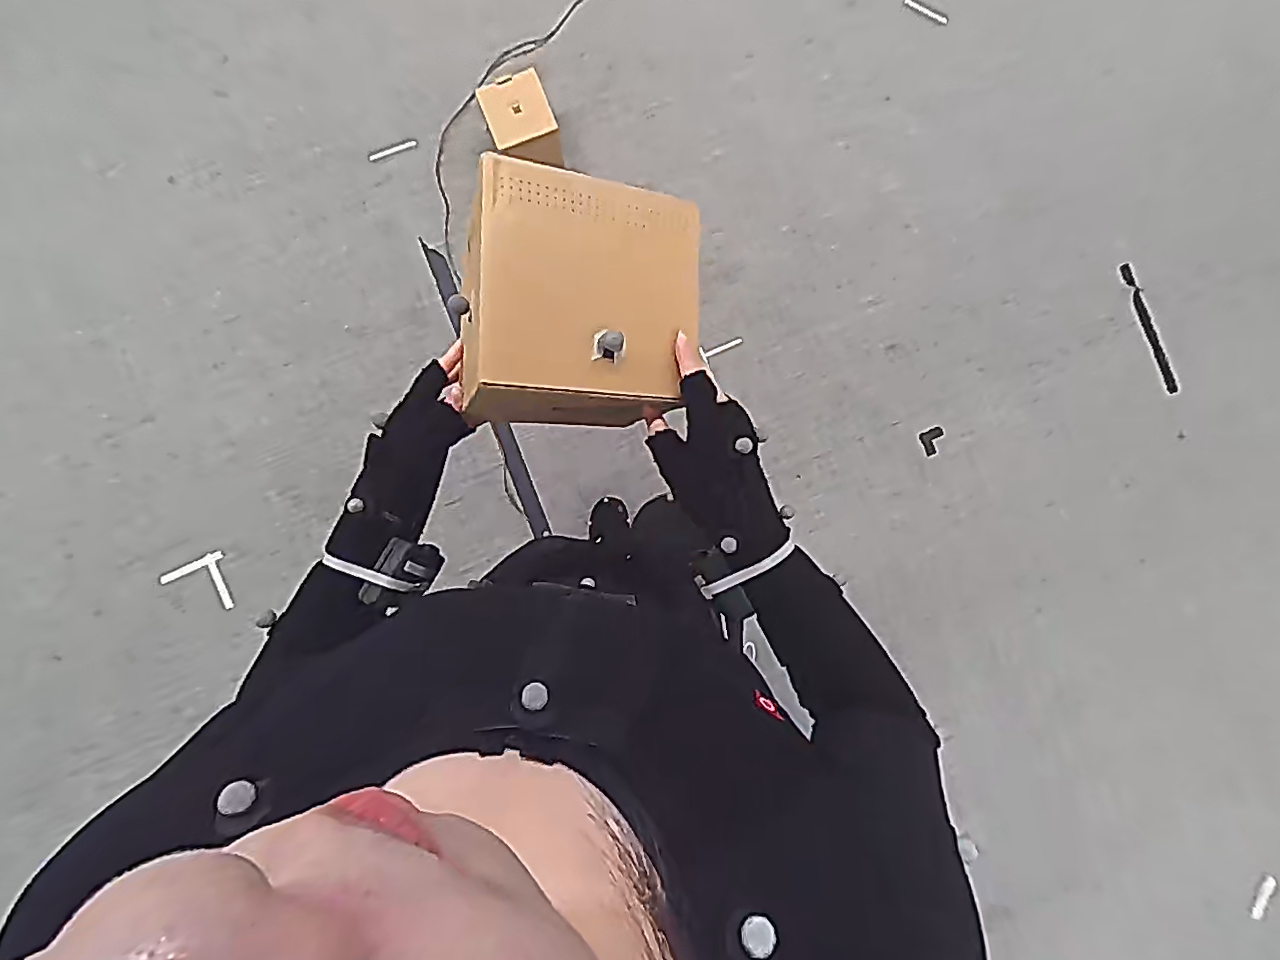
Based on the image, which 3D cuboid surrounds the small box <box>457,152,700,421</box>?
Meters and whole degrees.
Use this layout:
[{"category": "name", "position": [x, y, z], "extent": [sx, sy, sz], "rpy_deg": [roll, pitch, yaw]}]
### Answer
[{"category": "small box", "position": [-0.063, -0.152, 0.477], "extent": [0.179, 0.168, 0.176], "rpy_deg": [0, 88, -24]}]

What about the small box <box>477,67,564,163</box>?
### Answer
[{"category": "small box", "position": [-0.315, -0.946, 1.455], "extent": [0.168, 0.176, 0.179], "rpy_deg": [-22, 89, -1]}]
